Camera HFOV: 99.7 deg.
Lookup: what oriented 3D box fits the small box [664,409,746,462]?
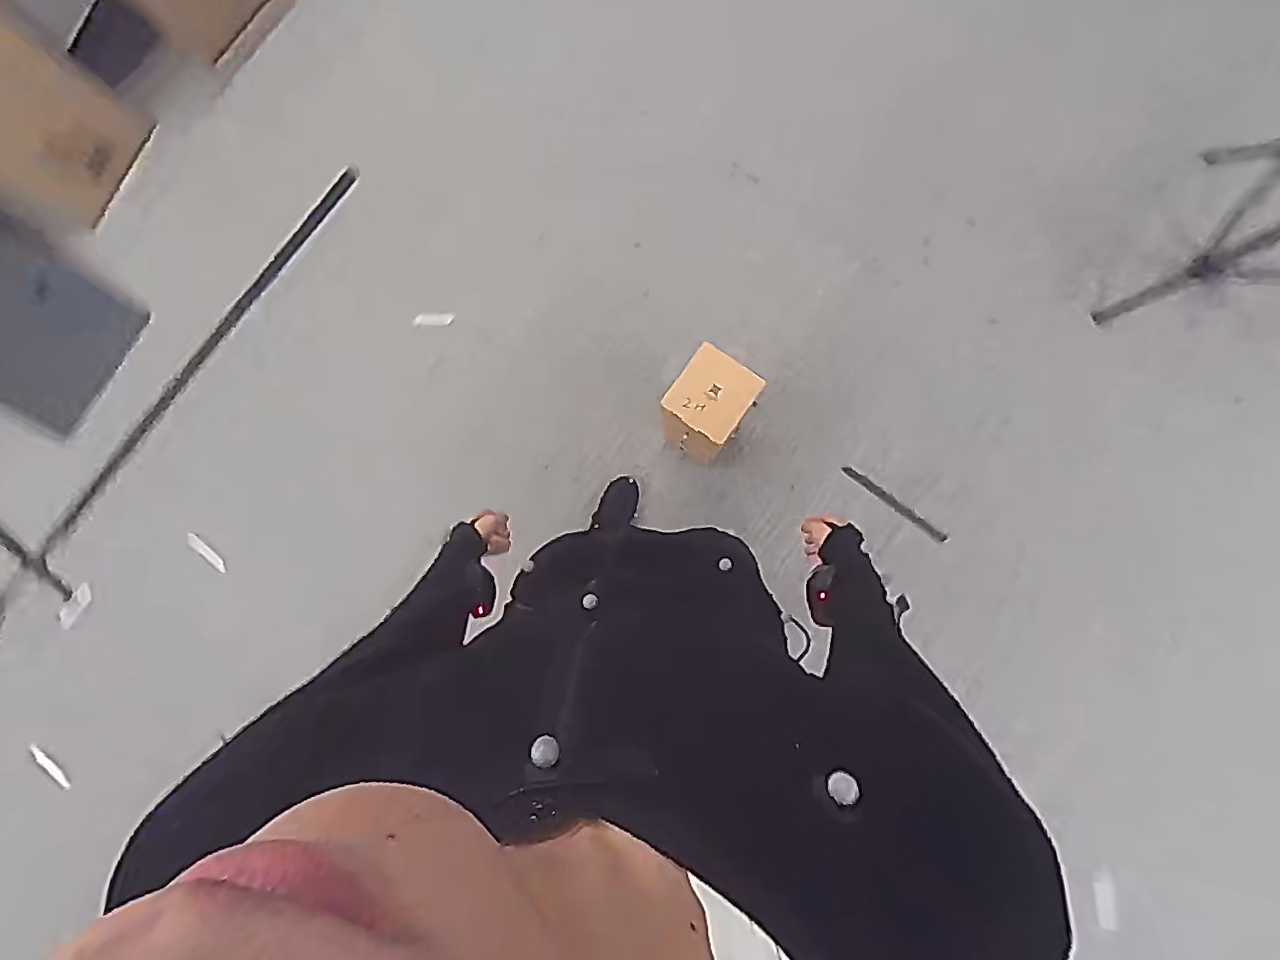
[{"bbox_3d":[0.181,-0.171,1.572,0.168,0.176,0.179,37,88,5],"label":"small box"}]

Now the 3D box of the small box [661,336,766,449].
[{"bbox_3d":[0.161,-0.192,1.245,0.168,0.176,0.179,37,89,5],"label":"small box"}]
